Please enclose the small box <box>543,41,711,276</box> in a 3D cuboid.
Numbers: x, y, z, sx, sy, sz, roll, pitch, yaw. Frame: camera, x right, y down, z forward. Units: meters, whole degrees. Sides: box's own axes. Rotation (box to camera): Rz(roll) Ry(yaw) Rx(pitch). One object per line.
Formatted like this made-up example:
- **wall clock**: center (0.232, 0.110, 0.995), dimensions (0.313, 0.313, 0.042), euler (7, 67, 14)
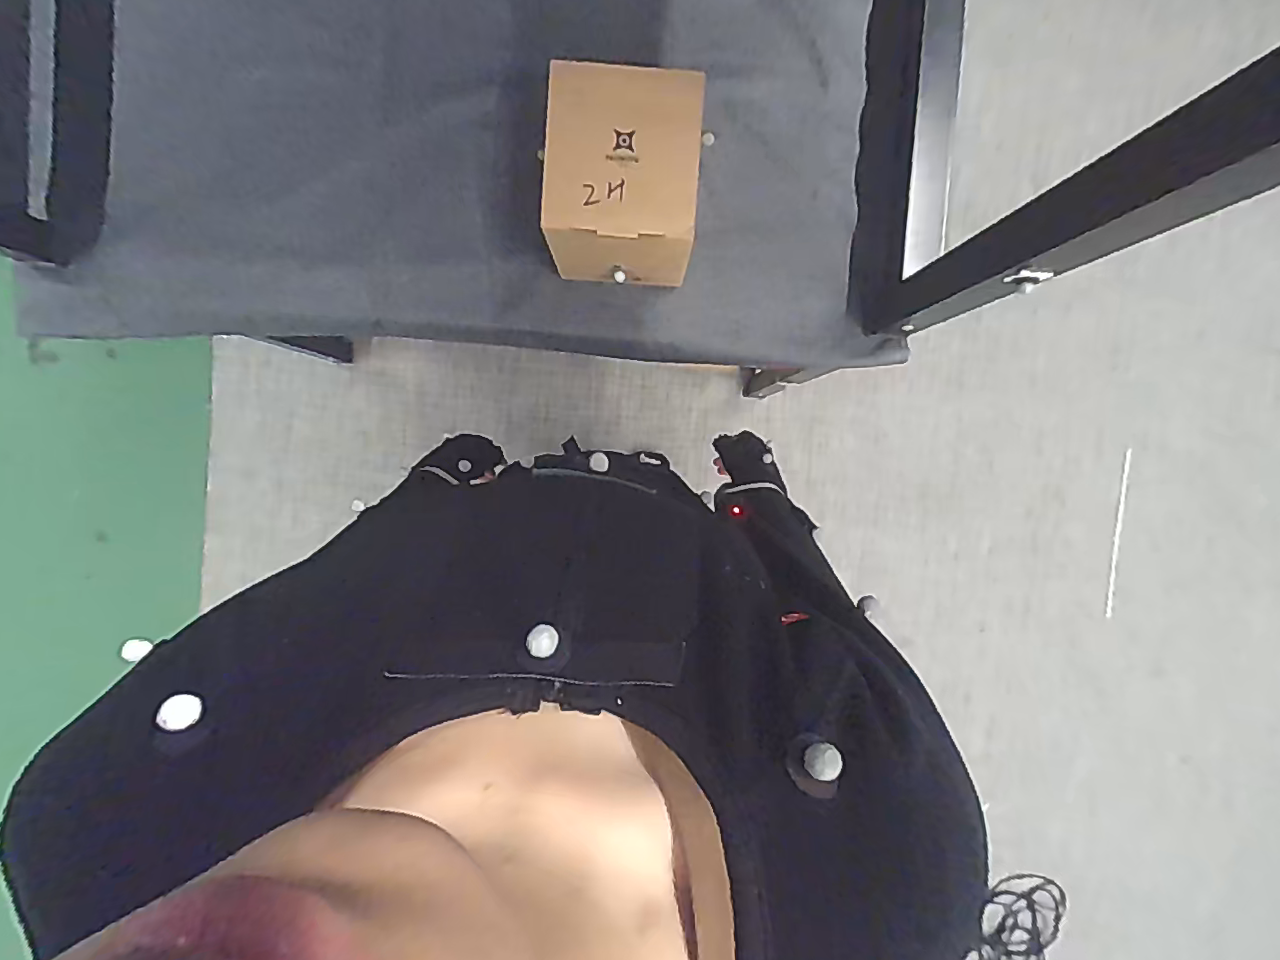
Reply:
- **small box**: center (-0.016, -0.365, 0.643), dimensions (0.168, 0.176, 0.179), euler (4, 92, -1)
